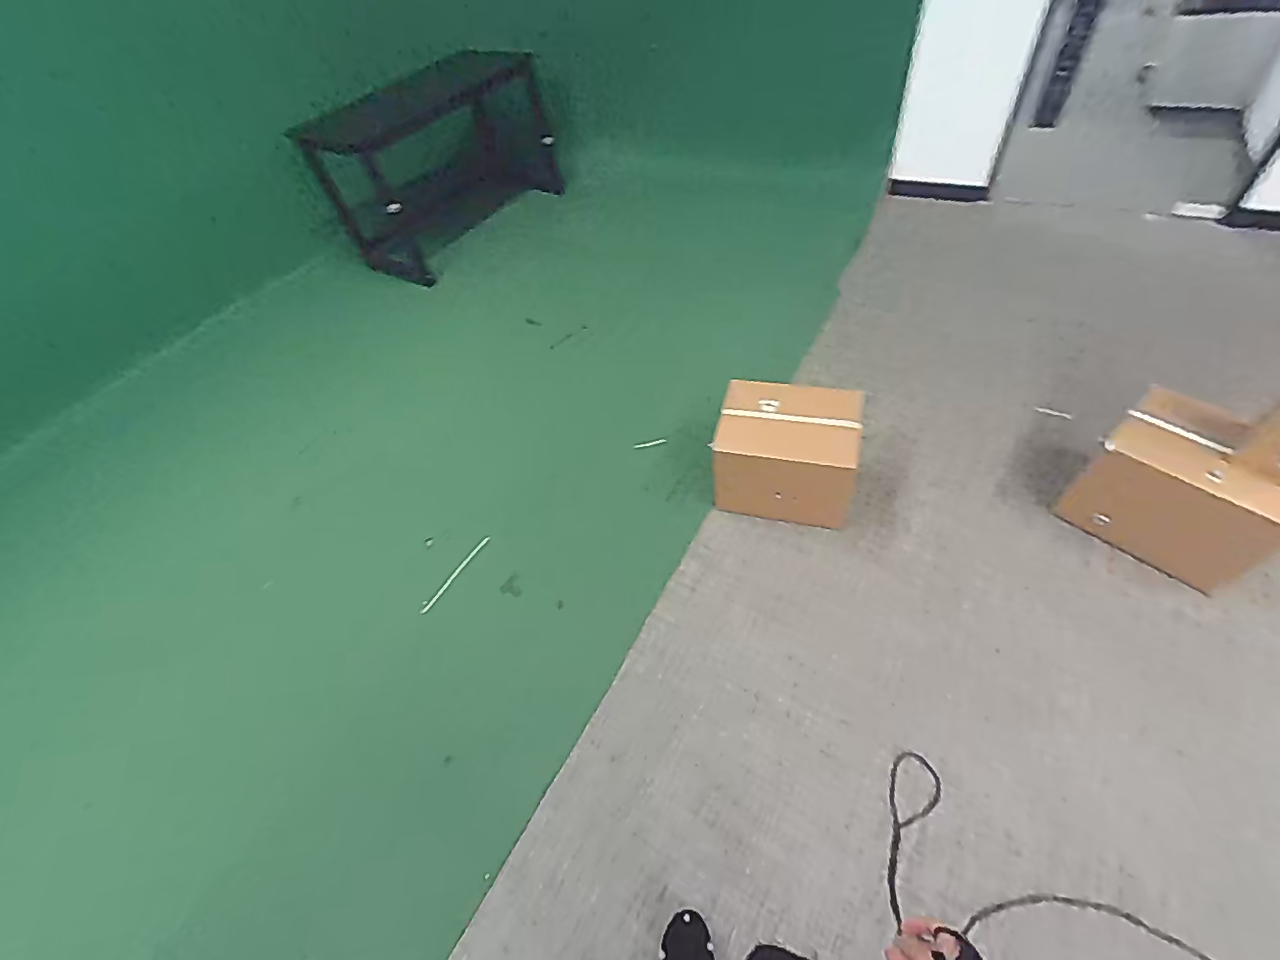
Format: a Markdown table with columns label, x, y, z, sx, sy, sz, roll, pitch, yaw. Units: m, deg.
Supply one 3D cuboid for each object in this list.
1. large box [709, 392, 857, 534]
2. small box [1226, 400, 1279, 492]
| label | x | y | z | sx | sy | sz | roll | pitch | yaw |
| --- | --- | --- | --- | --- | --- | --- | --- | --- | --- |
| large box | 0.456 | -0.055 | 1.721 | 0.408 | 0.320 | 0.320 | 7 | 52 | 17 |
| small box | 1.518 | -0.087 | 1.237 | 0.179 | 0.176 | 0.168 | -36 | 54 | -21 |
